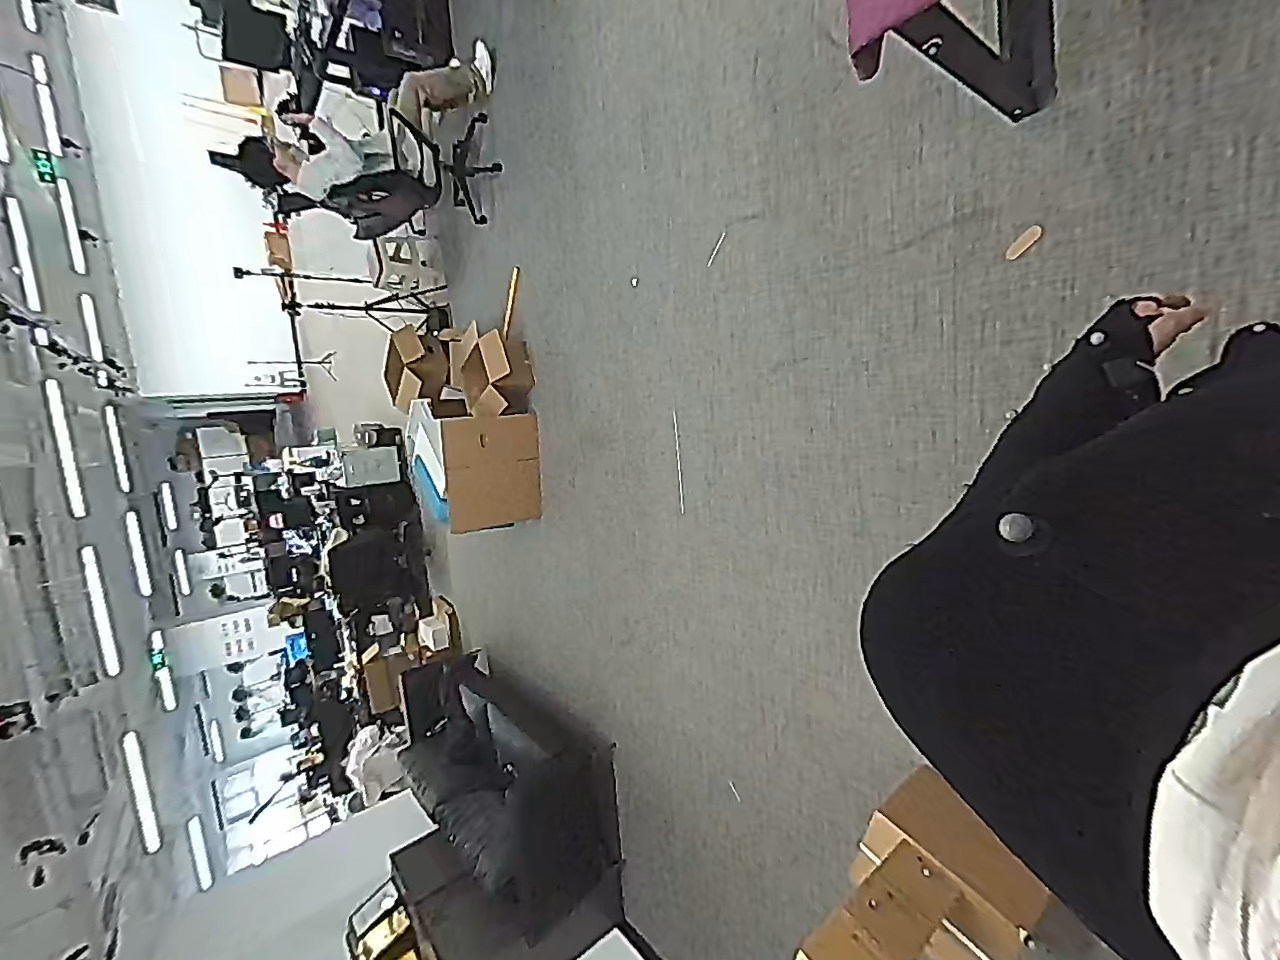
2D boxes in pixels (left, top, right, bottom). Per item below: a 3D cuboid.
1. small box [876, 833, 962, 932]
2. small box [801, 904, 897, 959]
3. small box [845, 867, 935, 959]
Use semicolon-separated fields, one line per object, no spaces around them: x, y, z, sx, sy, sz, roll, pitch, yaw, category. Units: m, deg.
0.734;1.116;1.464;0.168;0.176;0.179;32;121;43;small box
0.484;1.156;1.261;0.168;0.176;0.179;30;120;45;small box
0.610;1.133;1.360;0.168;0.176;0.179;30;121;45;small box
